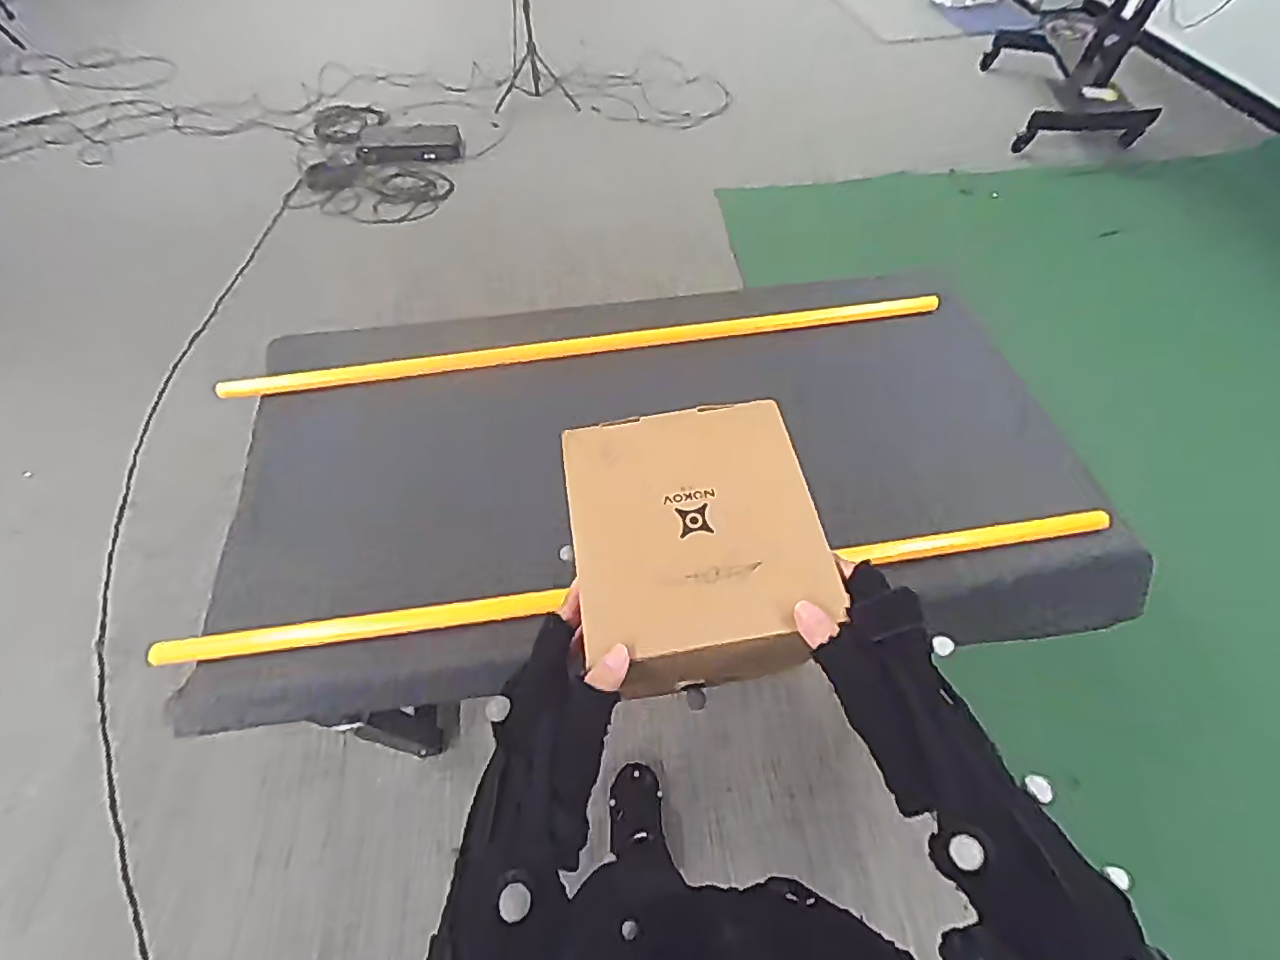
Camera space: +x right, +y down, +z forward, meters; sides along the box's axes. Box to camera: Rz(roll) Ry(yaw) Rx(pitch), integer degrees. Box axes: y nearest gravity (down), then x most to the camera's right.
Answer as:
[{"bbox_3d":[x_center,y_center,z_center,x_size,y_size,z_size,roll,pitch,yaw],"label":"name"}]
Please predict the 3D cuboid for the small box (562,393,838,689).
[{"bbox_3d":[0.034,0.056,0.443,0.168,0.176,0.179,-9,60,-2],"label":"small box"}]
